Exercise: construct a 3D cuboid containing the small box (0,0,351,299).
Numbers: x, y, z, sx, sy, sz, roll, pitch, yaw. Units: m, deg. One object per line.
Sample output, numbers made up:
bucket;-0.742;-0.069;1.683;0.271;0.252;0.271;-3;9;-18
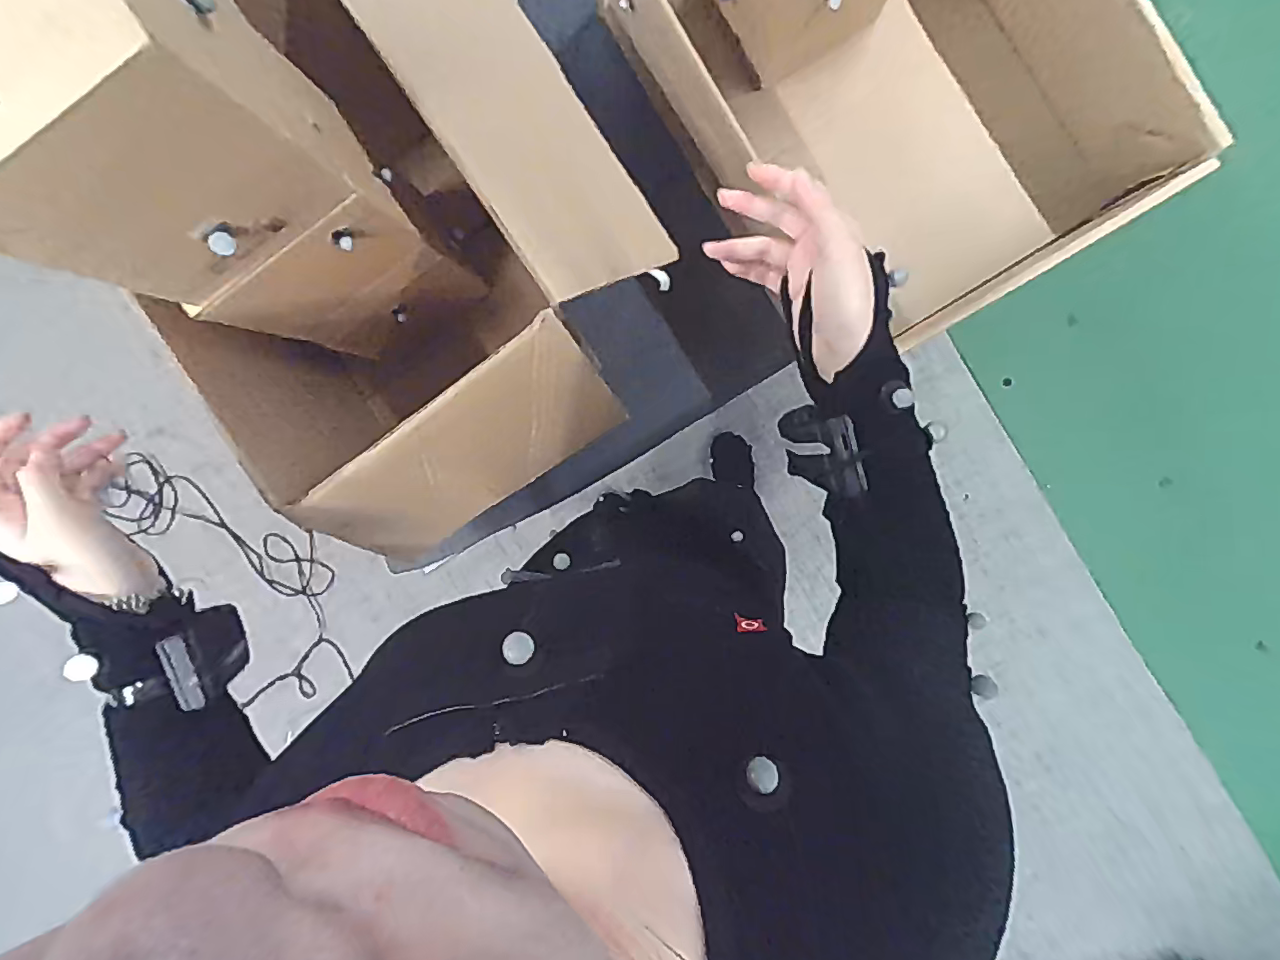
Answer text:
small box;-0.338;-0.247;0.349;0.168;0.176;0.179;-32;94;6
